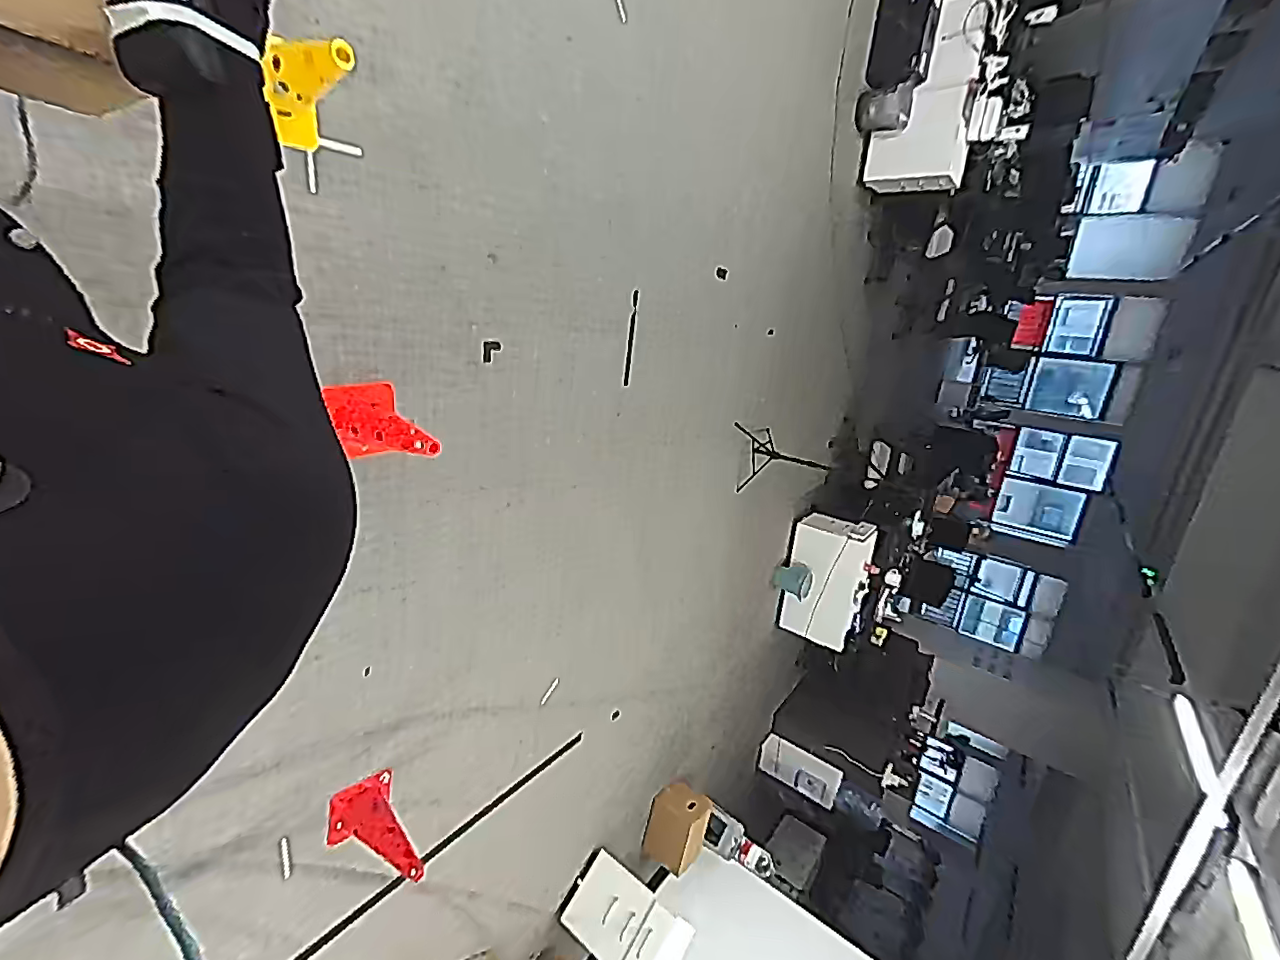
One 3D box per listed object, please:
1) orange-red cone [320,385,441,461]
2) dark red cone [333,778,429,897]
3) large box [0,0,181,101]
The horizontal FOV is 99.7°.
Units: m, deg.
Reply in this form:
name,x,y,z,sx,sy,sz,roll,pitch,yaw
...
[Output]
name,x,y,z,sx,sy,sz,roll,pitch,yaw
orange-red cone,-0.628,-0.119,1.380,0.198,0.360,0.199,-20,118,-50
dark red cone,-0.775,1.138,1.677,0.201,0.394,0.202,-6,109,-52
large box,-0.553,-0.466,0.285,0.408,0.320,0.320,-11,117,-52
